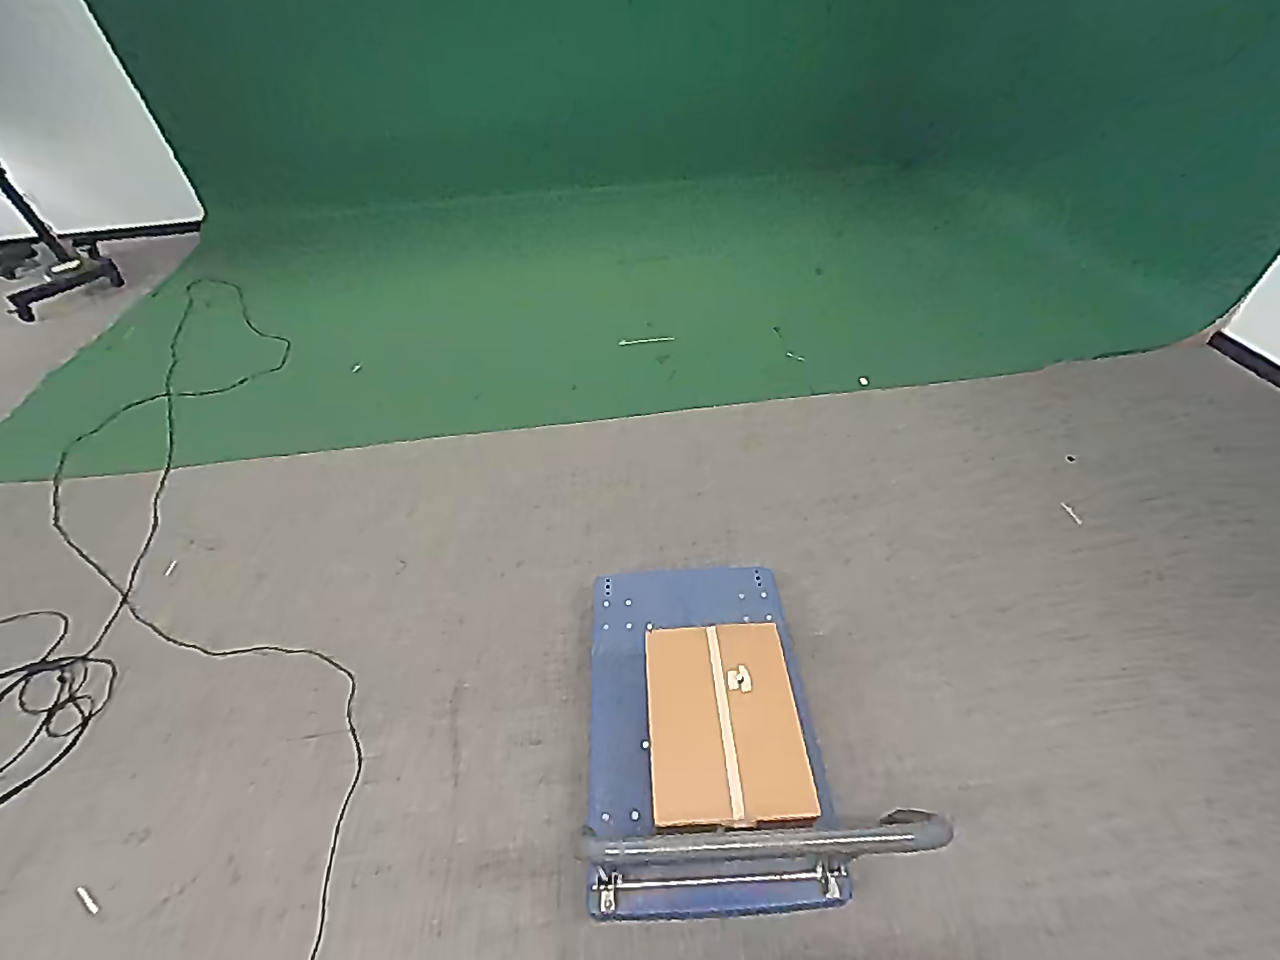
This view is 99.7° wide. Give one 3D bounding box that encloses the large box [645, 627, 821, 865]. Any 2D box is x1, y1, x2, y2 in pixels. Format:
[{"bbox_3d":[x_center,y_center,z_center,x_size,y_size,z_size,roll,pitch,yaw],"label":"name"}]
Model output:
[{"bbox_3d":[0.182,0.604,1.243,0.320,0.320,0.408,-3,44,-1],"label":"large box"}]
